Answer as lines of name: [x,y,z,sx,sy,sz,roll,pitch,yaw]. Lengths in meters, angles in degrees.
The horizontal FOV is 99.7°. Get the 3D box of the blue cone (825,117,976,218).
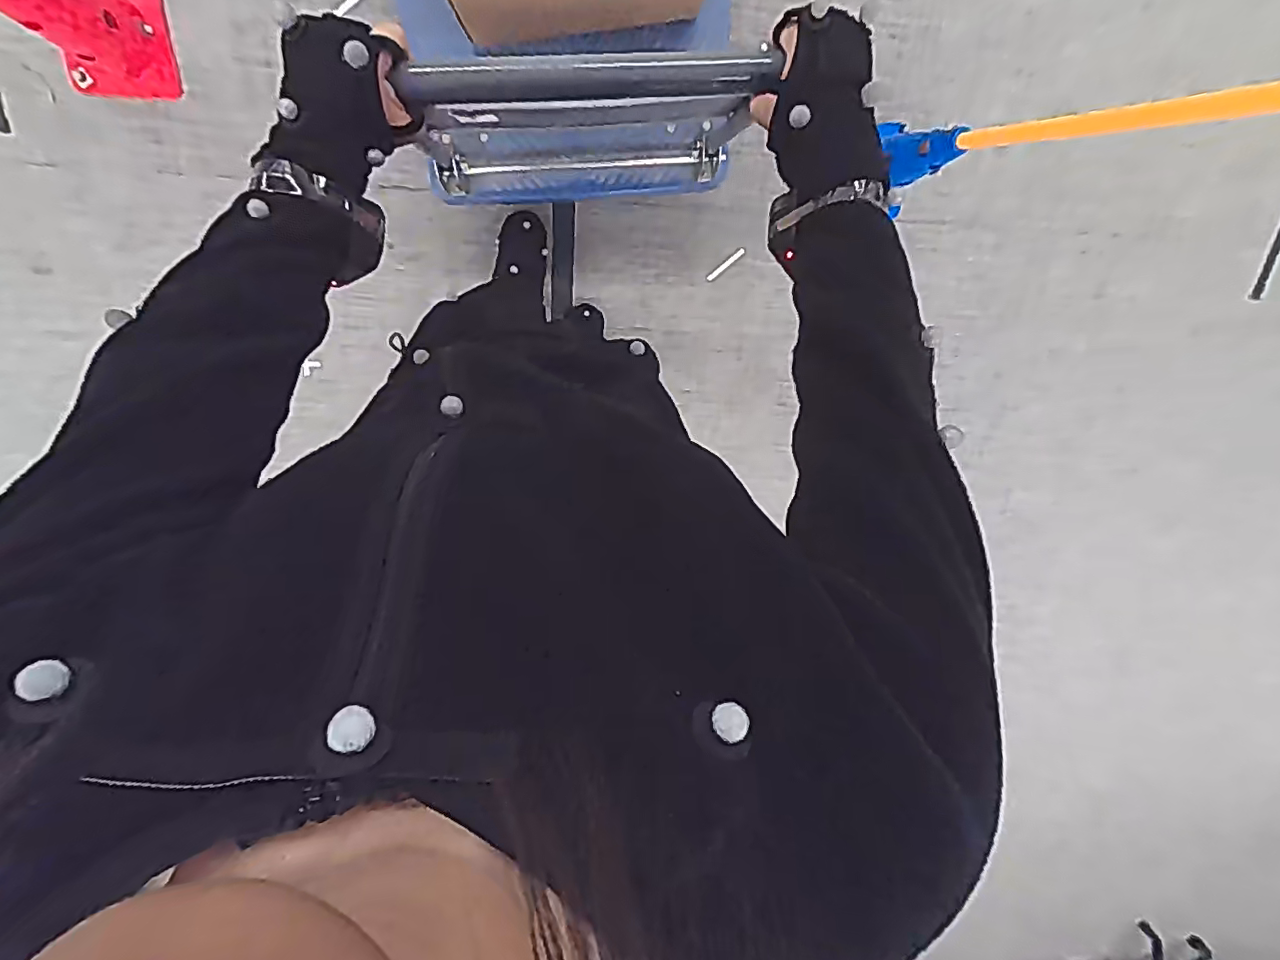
blue cone: [0.537,-0.652,1.094,0.193,0.380,0.192,-2,111,-5]
